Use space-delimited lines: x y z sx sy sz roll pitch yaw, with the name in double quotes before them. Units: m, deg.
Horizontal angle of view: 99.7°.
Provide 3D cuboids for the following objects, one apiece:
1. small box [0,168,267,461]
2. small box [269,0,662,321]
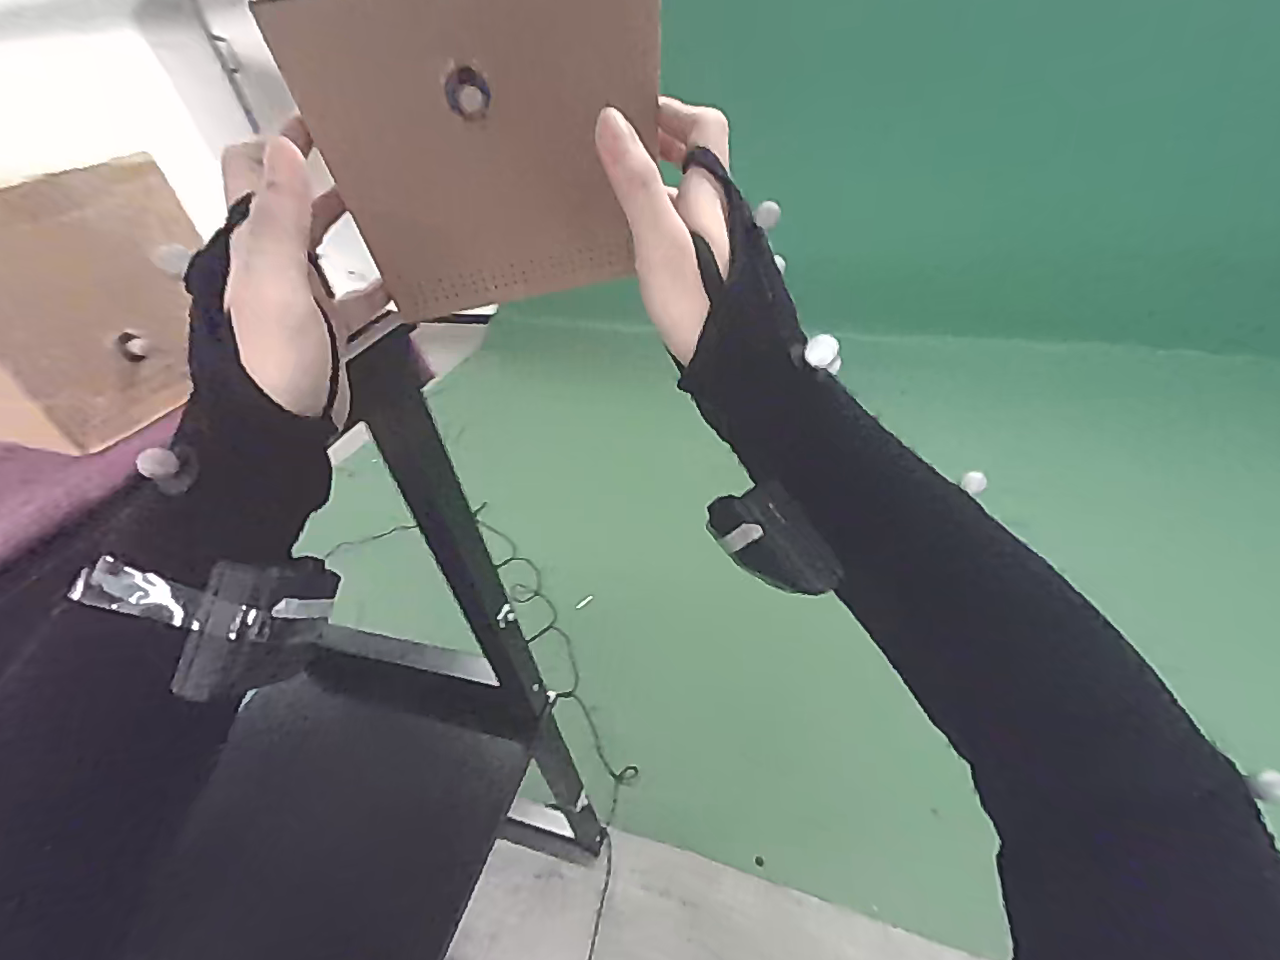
"small box" -0.455 -0.131 0.424 0.179 0.176 0.168 8 41 18
"small box" -0.088 -0.224 0.340 0.179 0.176 0.168 -14 59 -8
